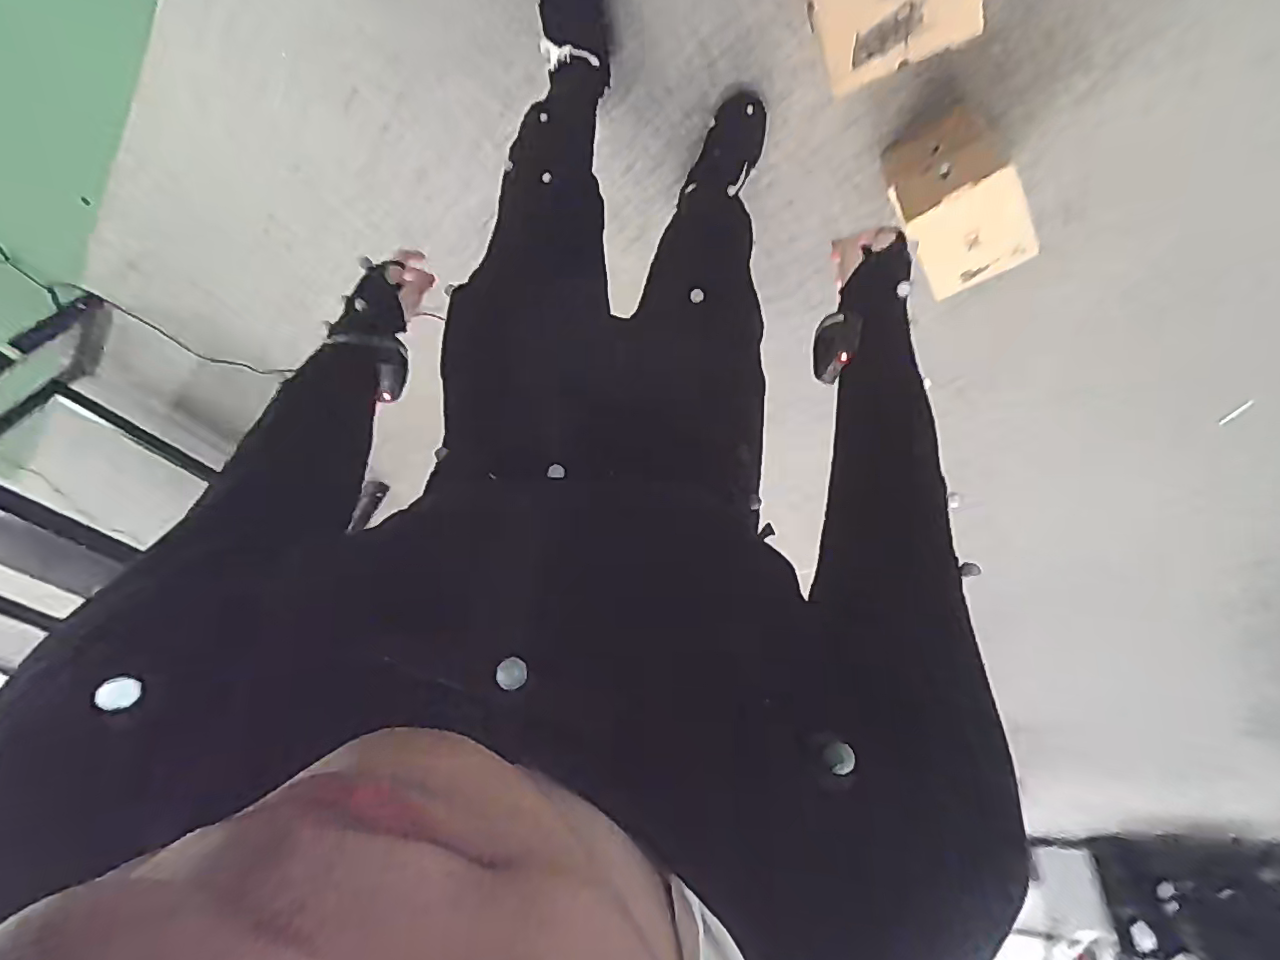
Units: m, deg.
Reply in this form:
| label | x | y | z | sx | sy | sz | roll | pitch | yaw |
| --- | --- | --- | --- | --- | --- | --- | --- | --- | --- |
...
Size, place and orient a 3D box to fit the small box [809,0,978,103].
| label | x | y | z | sx | sy | sz | roll | pitch | yaw |
| --- | --- | --- | --- | --- | --- | --- | --- | --- | --- |
| small box | 0.283 | -0.588 | 0.627 | 0.168 | 0.176 | 0.179 | -9 | 134 | 24 |

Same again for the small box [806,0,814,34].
| label | x | y | z | sx | sy | sz | roll | pitch | yaw |
| --- | --- | --- | --- | --- | --- | --- | --- | --- | --- |
| small box | 0.345 | -0.833 | 0.836 | 0.179 | 0.176 | 0.168 | -5 | 137 | 20 |

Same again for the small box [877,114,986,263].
| label | x | y | z | sx | sy | sz | roll | pitch | yaw |
| --- | --- | --- | --- | --- | --- | --- | --- | --- | --- |
| small box | 0.585 | -0.575 | 1.070 | 0.179 | 0.176 | 0.168 | -21 | 129 | 34 |

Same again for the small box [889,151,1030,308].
| label | x | y | z | sx | sy | sz | roll | pitch | yaw |
| --- | --- | --- | --- | --- | --- | --- | --- | --- | --- |
| small box | 0.561 | -0.450 | 0.965 | 0.168 | 0.176 | 0.179 | -19 | 129 | 33 |
